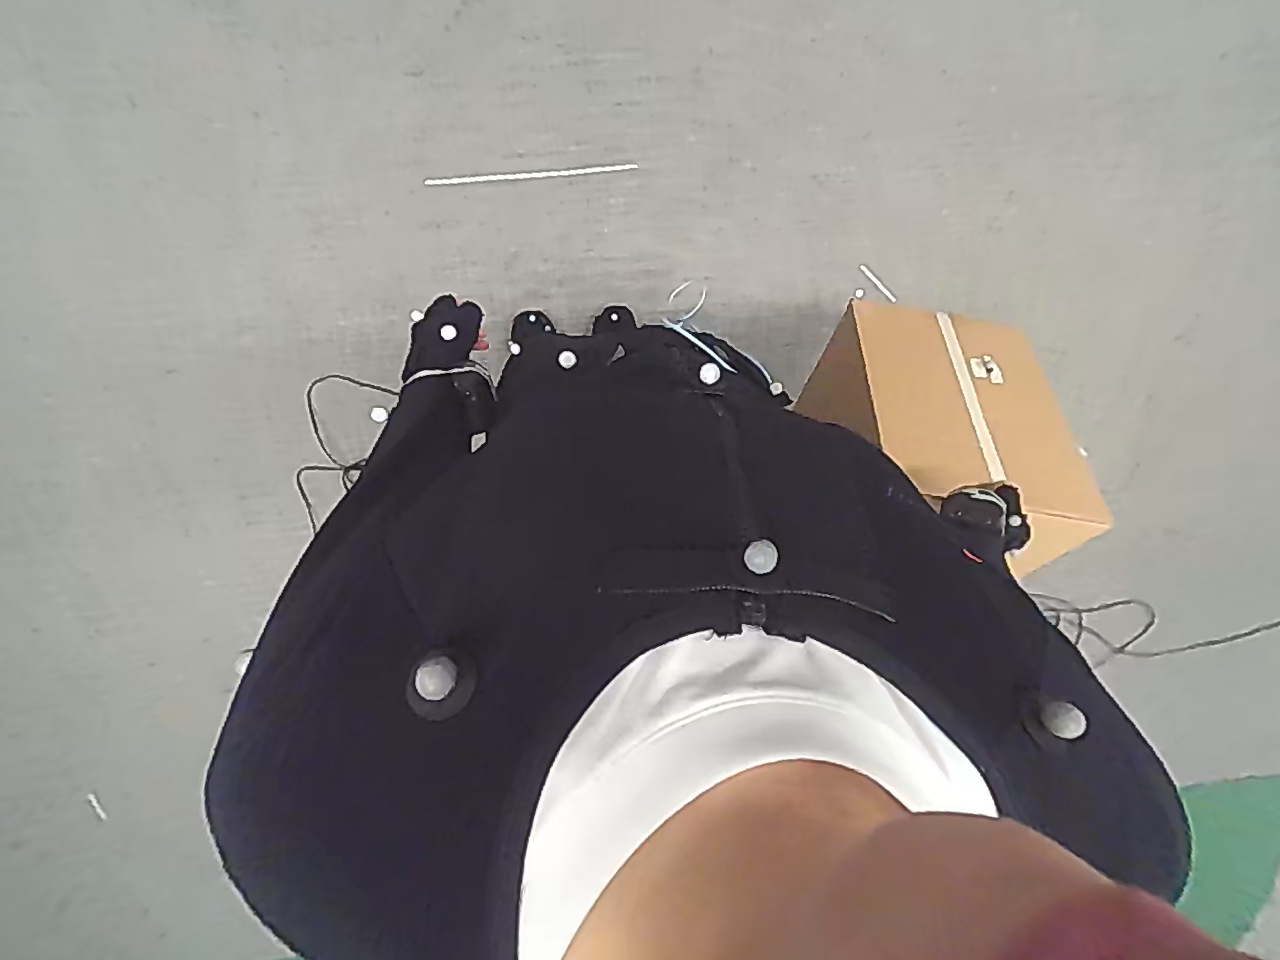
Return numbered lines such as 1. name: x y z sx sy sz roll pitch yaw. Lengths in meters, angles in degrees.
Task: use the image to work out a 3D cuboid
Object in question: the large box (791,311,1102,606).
1. large box: 0.480 -0.030 0.962 0.320 0.408 0.320 9 145 -4
